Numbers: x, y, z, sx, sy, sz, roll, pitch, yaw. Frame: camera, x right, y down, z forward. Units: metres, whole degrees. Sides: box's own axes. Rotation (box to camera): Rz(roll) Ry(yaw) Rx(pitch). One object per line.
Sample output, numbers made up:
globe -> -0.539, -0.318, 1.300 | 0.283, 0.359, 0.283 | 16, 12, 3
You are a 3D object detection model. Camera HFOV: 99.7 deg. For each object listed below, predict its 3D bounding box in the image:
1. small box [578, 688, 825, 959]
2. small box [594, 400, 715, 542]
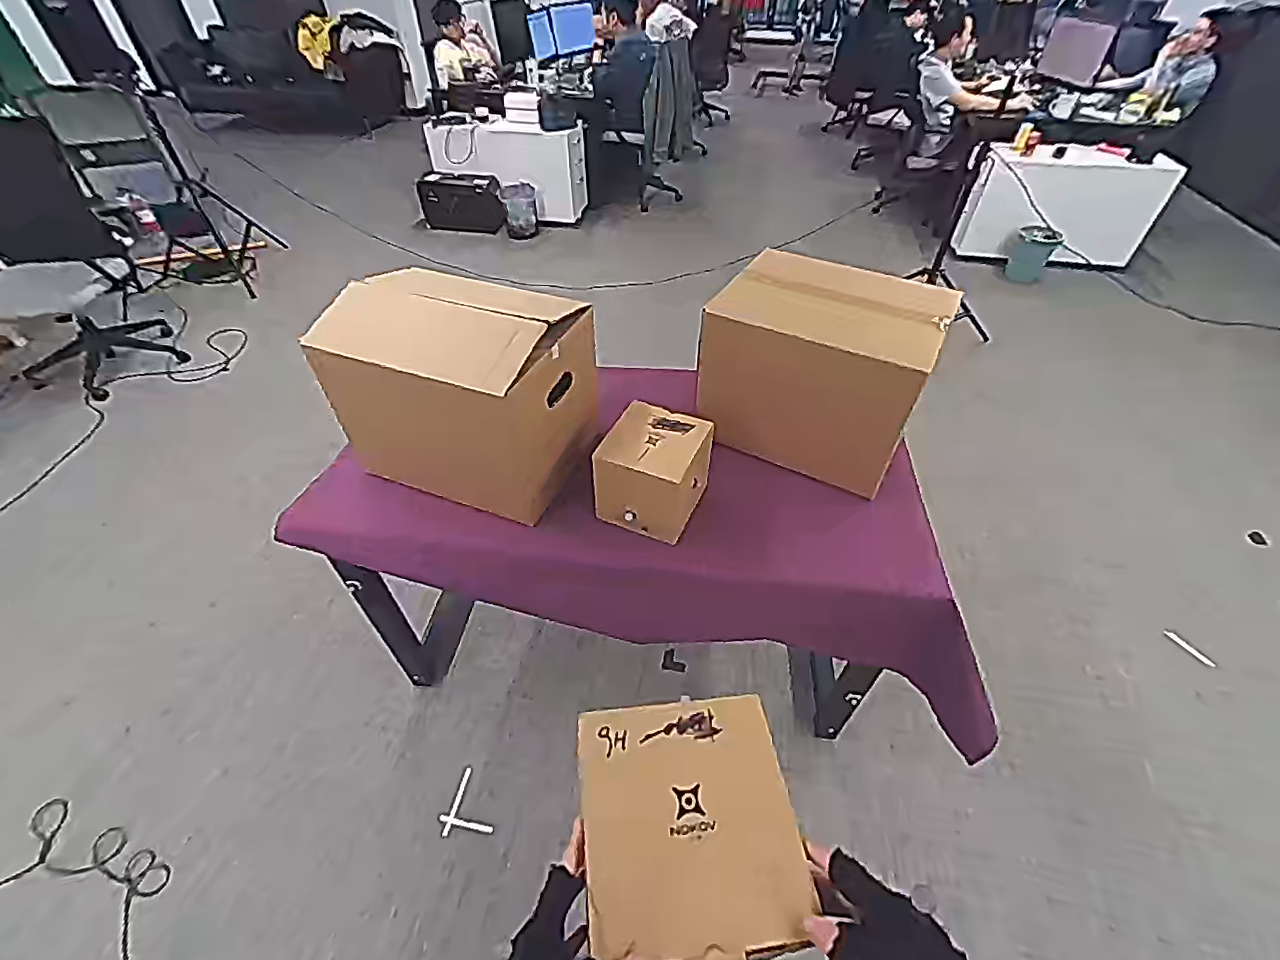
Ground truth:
small box -> 0.033, 0.308, 0.473 | 0.168, 0.176, 0.179 | -3, 46, -8
small box -> 0.028, -0.018, 1.011 | 0.168, 0.176, 0.179 | 18, 48, 18
